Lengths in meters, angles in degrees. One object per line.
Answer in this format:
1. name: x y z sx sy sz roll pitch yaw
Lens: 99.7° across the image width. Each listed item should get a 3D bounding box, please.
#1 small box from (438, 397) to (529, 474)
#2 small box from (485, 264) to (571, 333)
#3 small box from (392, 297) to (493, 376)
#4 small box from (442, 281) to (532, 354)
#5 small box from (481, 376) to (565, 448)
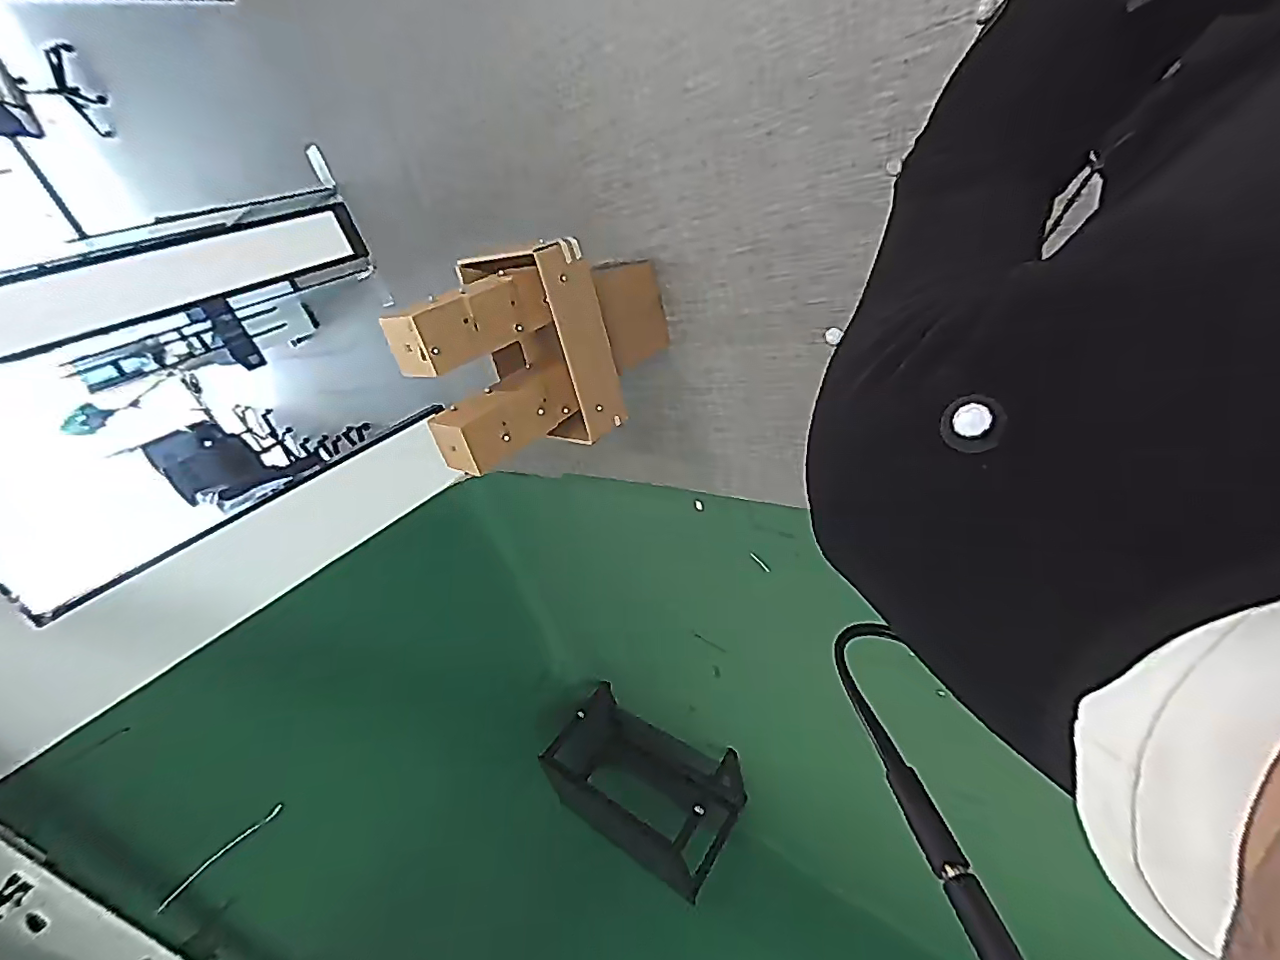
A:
1. small box: -0.473 -0.143 1.650 0.179 0.176 0.168 14 131 38
2. small box: -0.348 -0.572 1.701 0.179 0.176 0.168 12 129 38
3. small box: -0.544 -0.399 1.501 0.179 0.176 0.168 11 128 39
4. small box: -0.441 -0.483 1.597 0.179 0.176 0.168 14 130 37
5. small box: -0.375 -0.227 1.749 0.179 0.176 0.168 14 131 37
